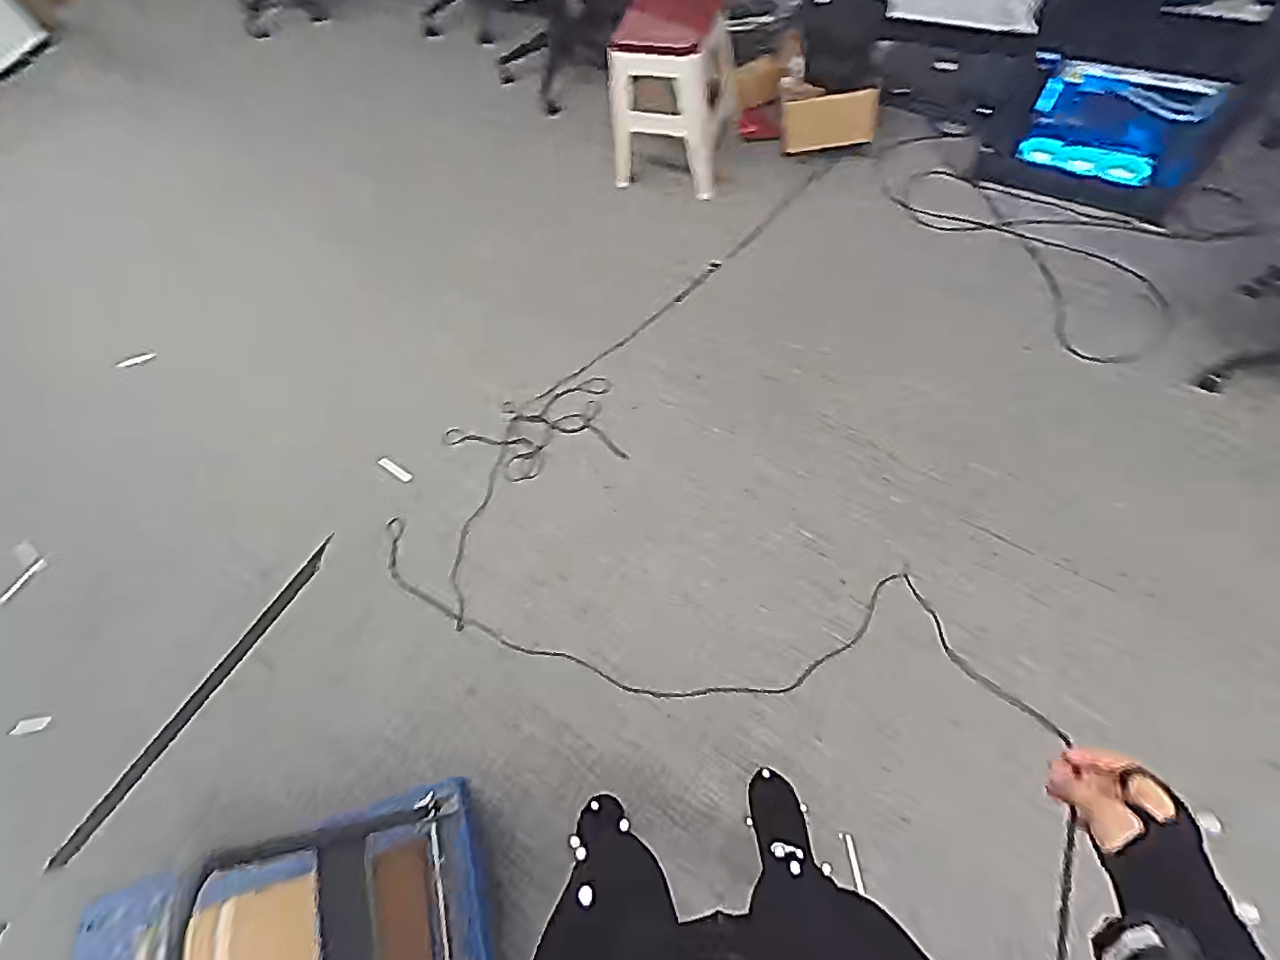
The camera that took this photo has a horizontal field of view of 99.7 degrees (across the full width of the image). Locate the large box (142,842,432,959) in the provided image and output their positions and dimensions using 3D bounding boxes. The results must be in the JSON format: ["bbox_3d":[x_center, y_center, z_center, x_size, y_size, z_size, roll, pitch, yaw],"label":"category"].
[{"bbox_3d":[-0.559,0.896,0.895,0.320,0.320,0.408,-18,63,0],"label":"large box"}]
